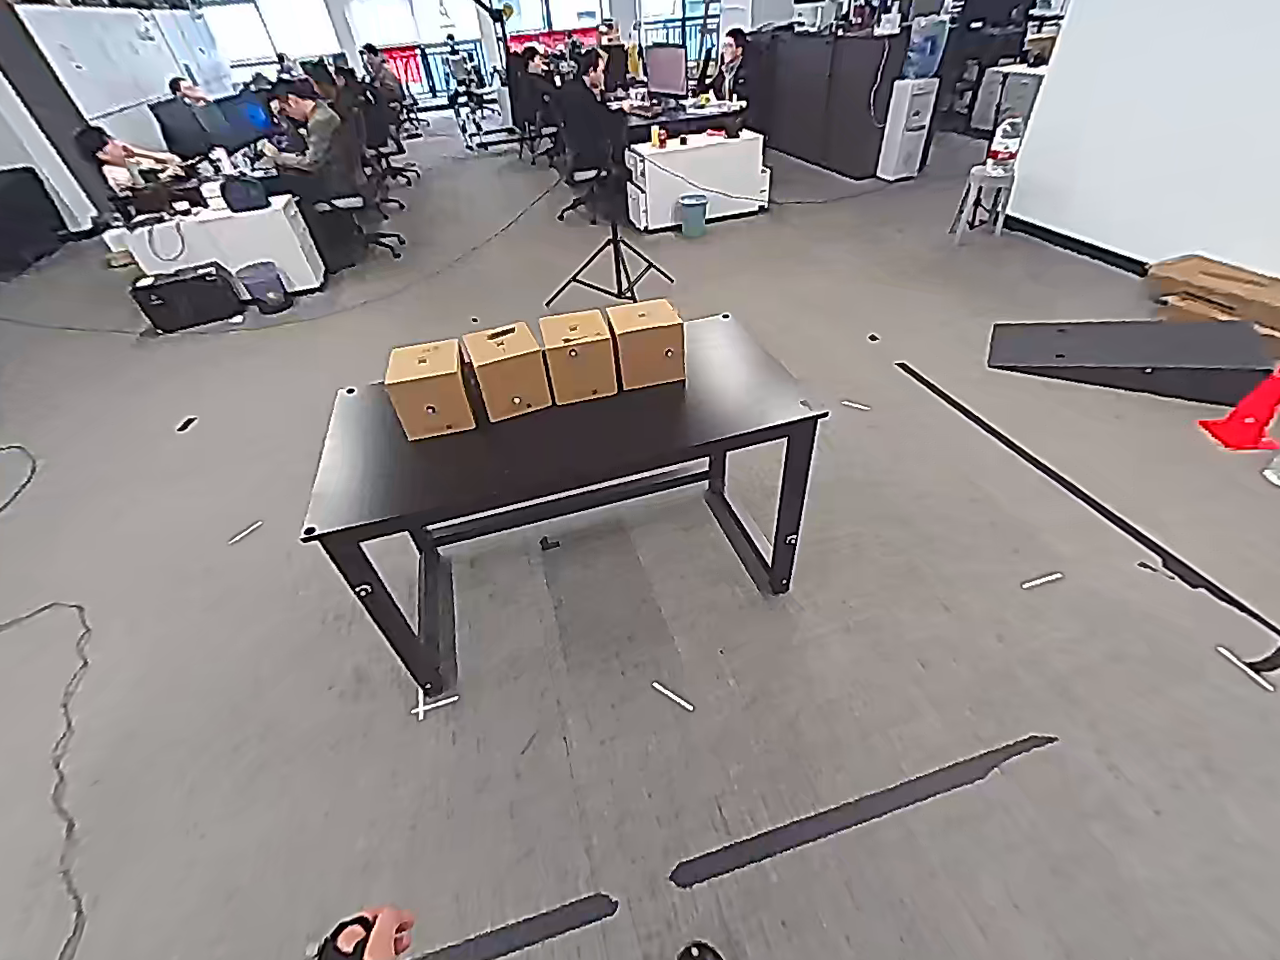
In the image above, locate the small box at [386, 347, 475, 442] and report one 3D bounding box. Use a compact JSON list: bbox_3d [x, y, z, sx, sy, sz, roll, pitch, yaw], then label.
[{"bbox_3d":[-0.521,-0.210,1.369,0.168,0.176,0.179,-12,41,-8],"label":"small box"}]
